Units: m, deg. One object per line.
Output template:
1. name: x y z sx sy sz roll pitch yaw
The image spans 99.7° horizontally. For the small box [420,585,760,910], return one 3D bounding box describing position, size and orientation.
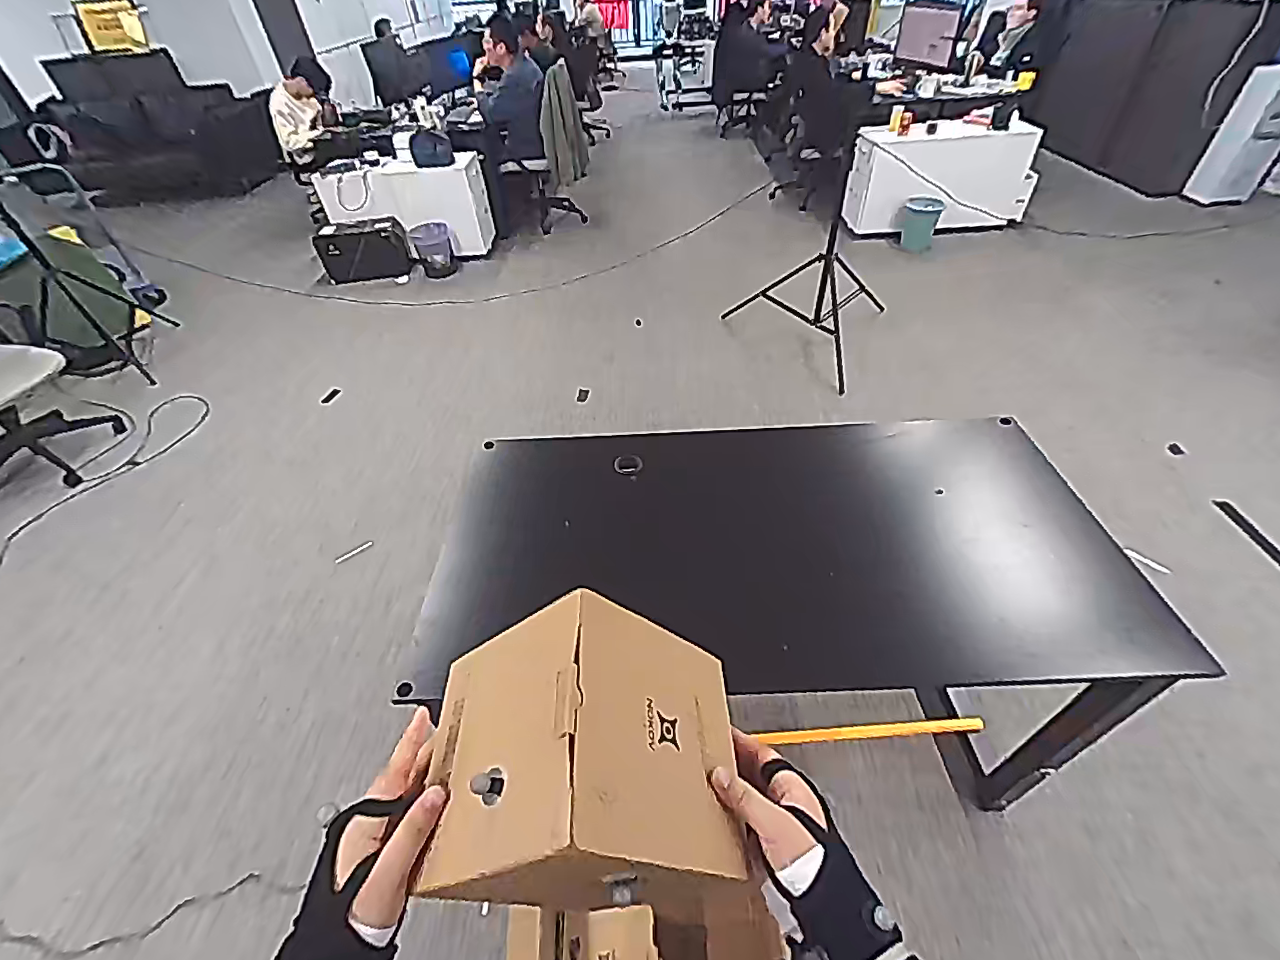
1. small box: -0.038 0.215 0.419 0.176 0.179 0.168 -35 37 28
